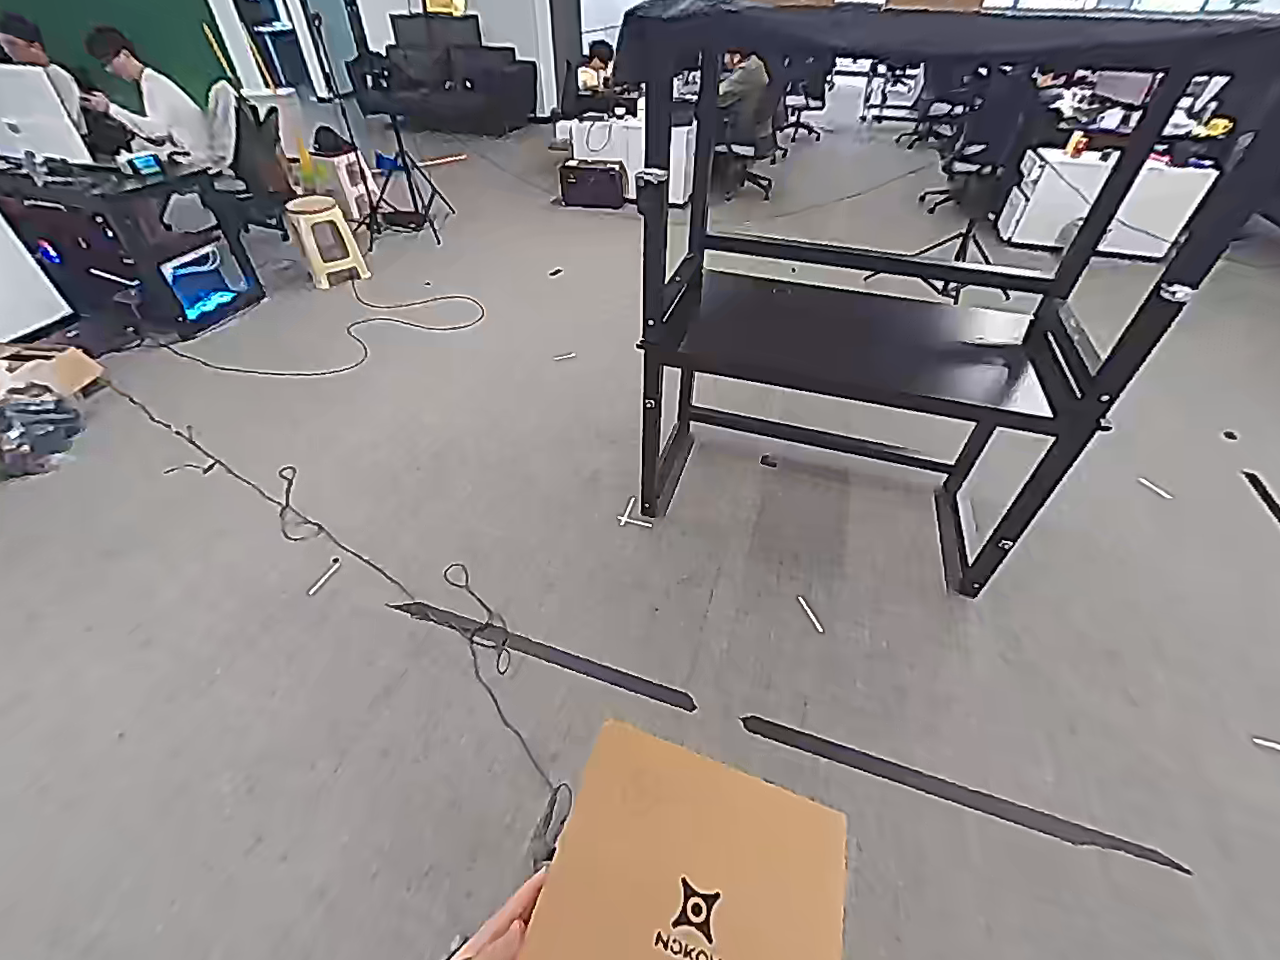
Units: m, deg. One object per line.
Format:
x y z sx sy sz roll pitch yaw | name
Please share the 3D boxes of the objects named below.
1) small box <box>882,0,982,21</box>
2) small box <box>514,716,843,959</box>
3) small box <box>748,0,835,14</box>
0.554 -0.960 0.992 0.168 0.176 0.179 12 42 12 | small box
0.014 0.294 0.350 0.168 0.176 0.179 19 46 6 | small box
0.308 -1.012 1.042 0.168 0.176 0.179 12 42 10 | small box
